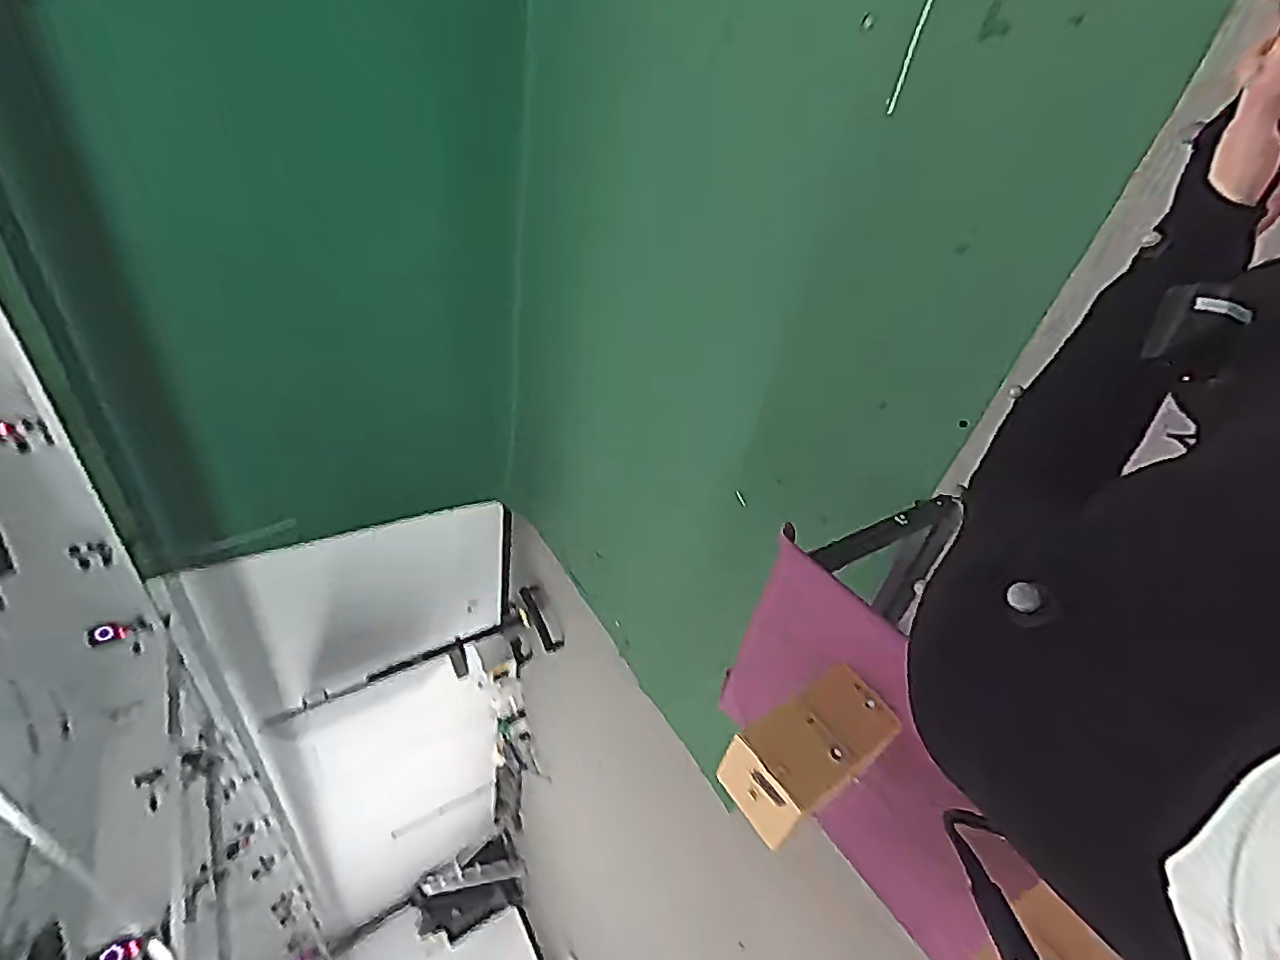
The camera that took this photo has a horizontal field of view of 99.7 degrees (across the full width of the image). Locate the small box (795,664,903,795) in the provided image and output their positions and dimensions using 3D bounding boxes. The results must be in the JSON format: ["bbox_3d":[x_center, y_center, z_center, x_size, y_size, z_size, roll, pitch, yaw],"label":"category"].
[{"bbox_3d":[0.418,0.530,1.147,0.168,0.176,0.179,45,136,37],"label":"small box"}]

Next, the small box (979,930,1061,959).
[{"bbox_3d":[0.541,0.783,0.749,0.168,0.176,0.179,43,135,41],"label":"small box"}]

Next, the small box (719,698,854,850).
[{"bbox_3d":[0.286,0.564,1.057,0.168,0.176,0.179,44,138,38],"label":"small box"}]
